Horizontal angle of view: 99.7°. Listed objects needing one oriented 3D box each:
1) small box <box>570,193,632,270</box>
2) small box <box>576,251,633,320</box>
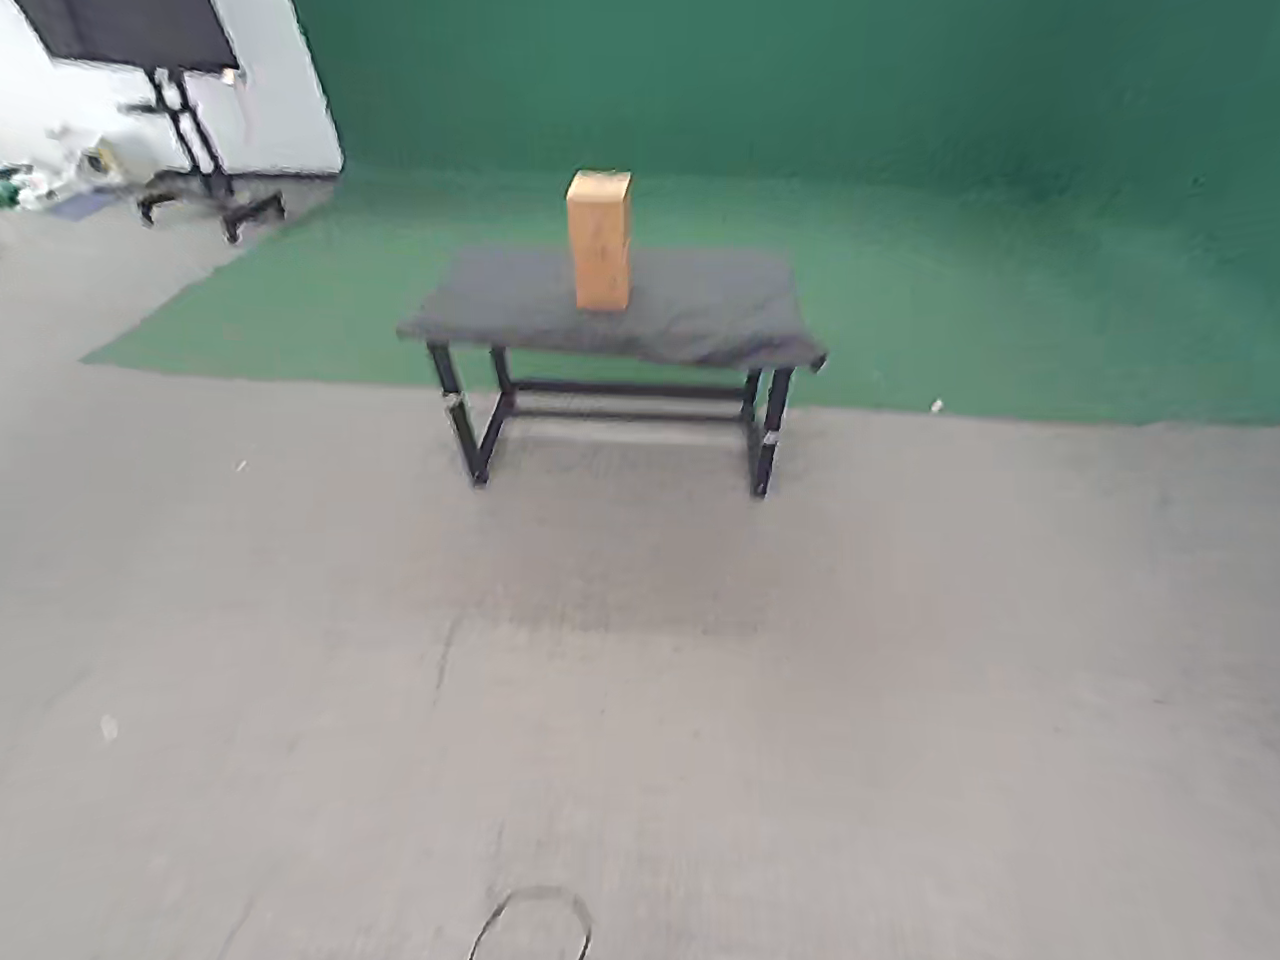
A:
[{"bbox_3d":[-0.112,-0.760,1.660,0.168,0.176,0.179,4,45,3],"label":"small box"},{"bbox_3d":[-0.110,-0.638,1.770,0.168,0.176,0.179,3,43,2],"label":"small box"}]
